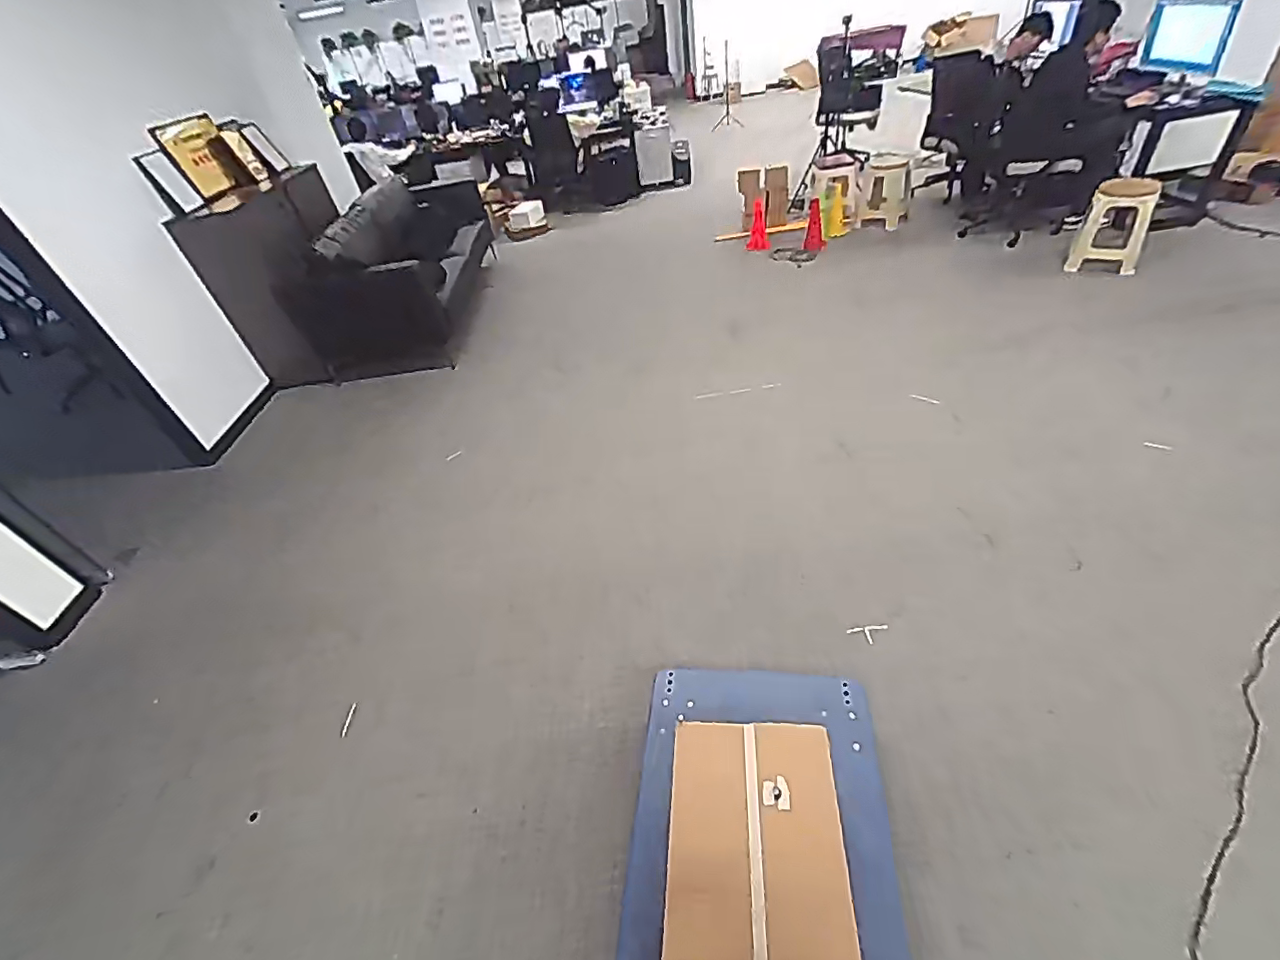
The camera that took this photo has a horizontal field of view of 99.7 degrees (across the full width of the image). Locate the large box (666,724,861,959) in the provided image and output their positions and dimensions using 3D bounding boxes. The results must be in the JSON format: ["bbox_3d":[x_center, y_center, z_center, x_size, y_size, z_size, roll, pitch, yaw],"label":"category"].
[{"bbox_3d":[0.234,0.767,1.097,0.320,0.320,0.408,-3,40,10],"label":"large box"}]
